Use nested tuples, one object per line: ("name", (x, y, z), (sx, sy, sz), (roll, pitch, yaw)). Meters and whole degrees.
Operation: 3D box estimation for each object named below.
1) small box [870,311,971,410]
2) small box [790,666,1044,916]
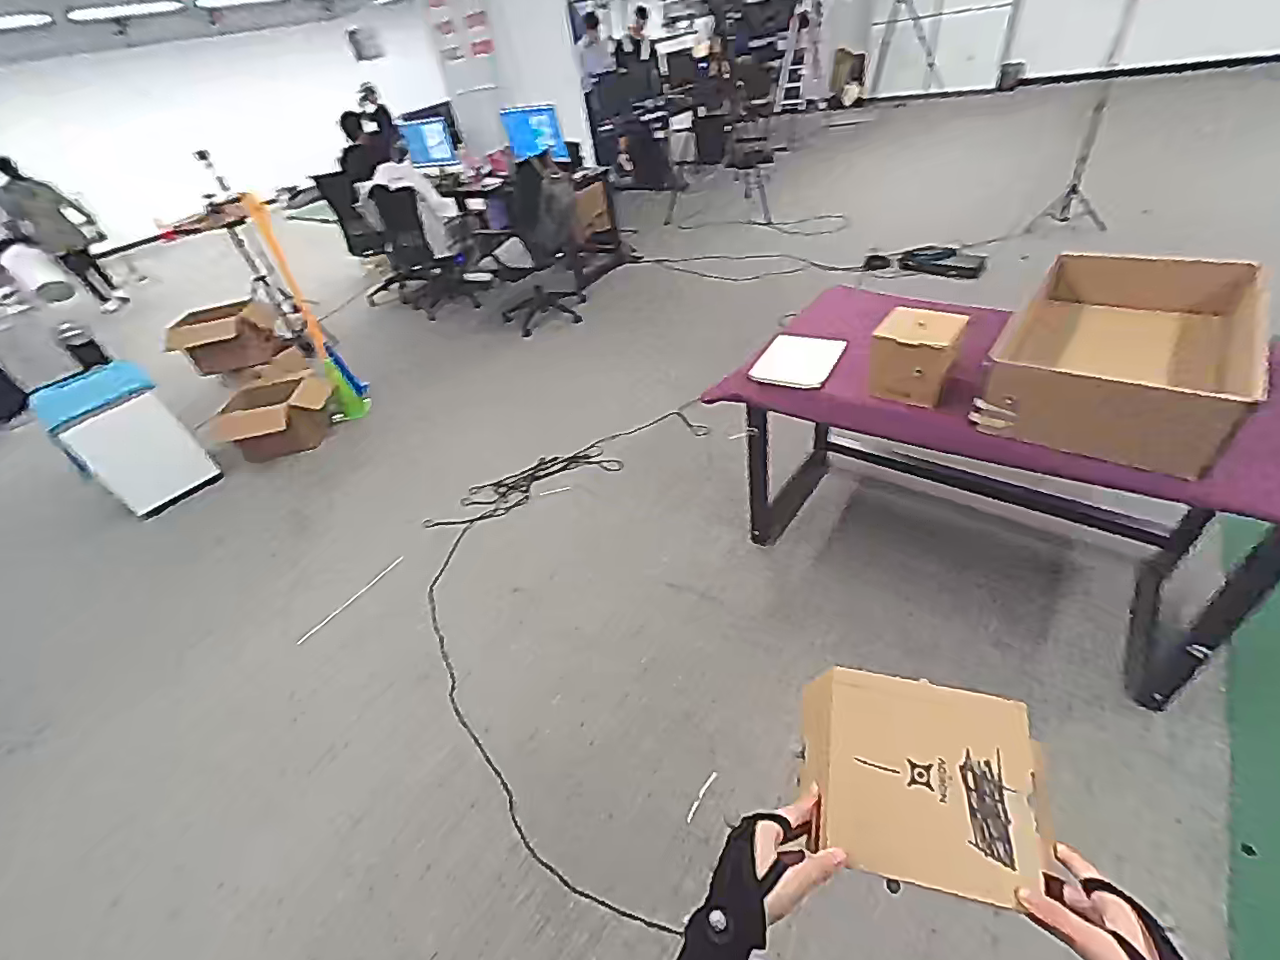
("small box", (0.684, -0.294, 1.331), (0.168, 0.176, 0.179), (23, 49, 34))
("small box", (0.261, 0.302, 0.549), (0.179, 0.176, 0.168), (8, 62, 10))
